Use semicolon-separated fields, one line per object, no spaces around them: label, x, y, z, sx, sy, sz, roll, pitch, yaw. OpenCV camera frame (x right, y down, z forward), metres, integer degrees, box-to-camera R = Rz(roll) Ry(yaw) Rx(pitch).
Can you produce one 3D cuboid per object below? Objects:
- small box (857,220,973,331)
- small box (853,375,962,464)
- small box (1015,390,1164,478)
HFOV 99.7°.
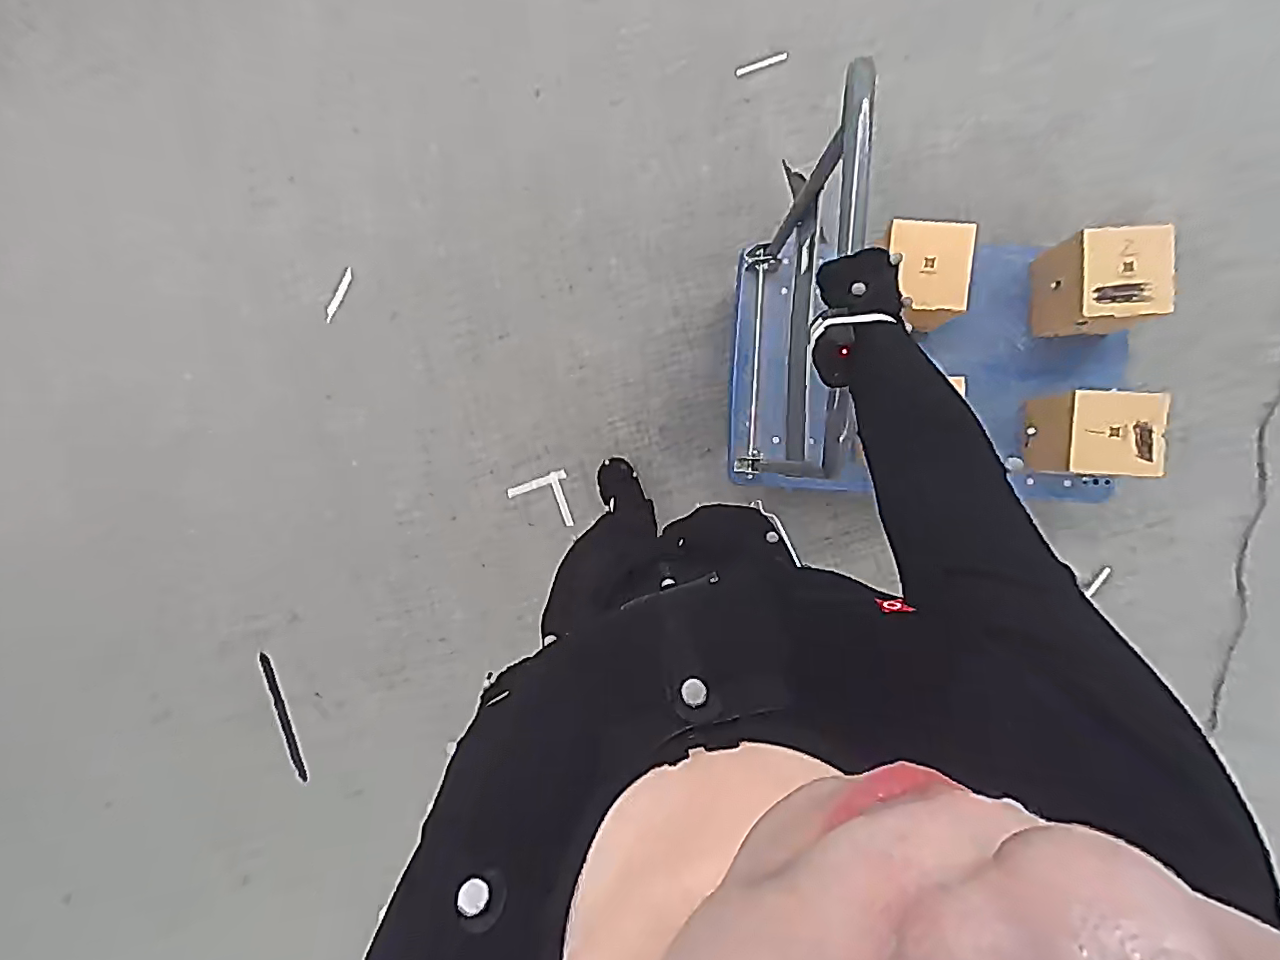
small box;0.586;-0.436;1.172;0.168;0.176;0.179;6;93;4
small box;0.574;-0.126;1.179;0.168;0.176;0.179;1;91;5
small box;0.946;-0.095;1.151;0.179;0.176;0.168;4;92;6
